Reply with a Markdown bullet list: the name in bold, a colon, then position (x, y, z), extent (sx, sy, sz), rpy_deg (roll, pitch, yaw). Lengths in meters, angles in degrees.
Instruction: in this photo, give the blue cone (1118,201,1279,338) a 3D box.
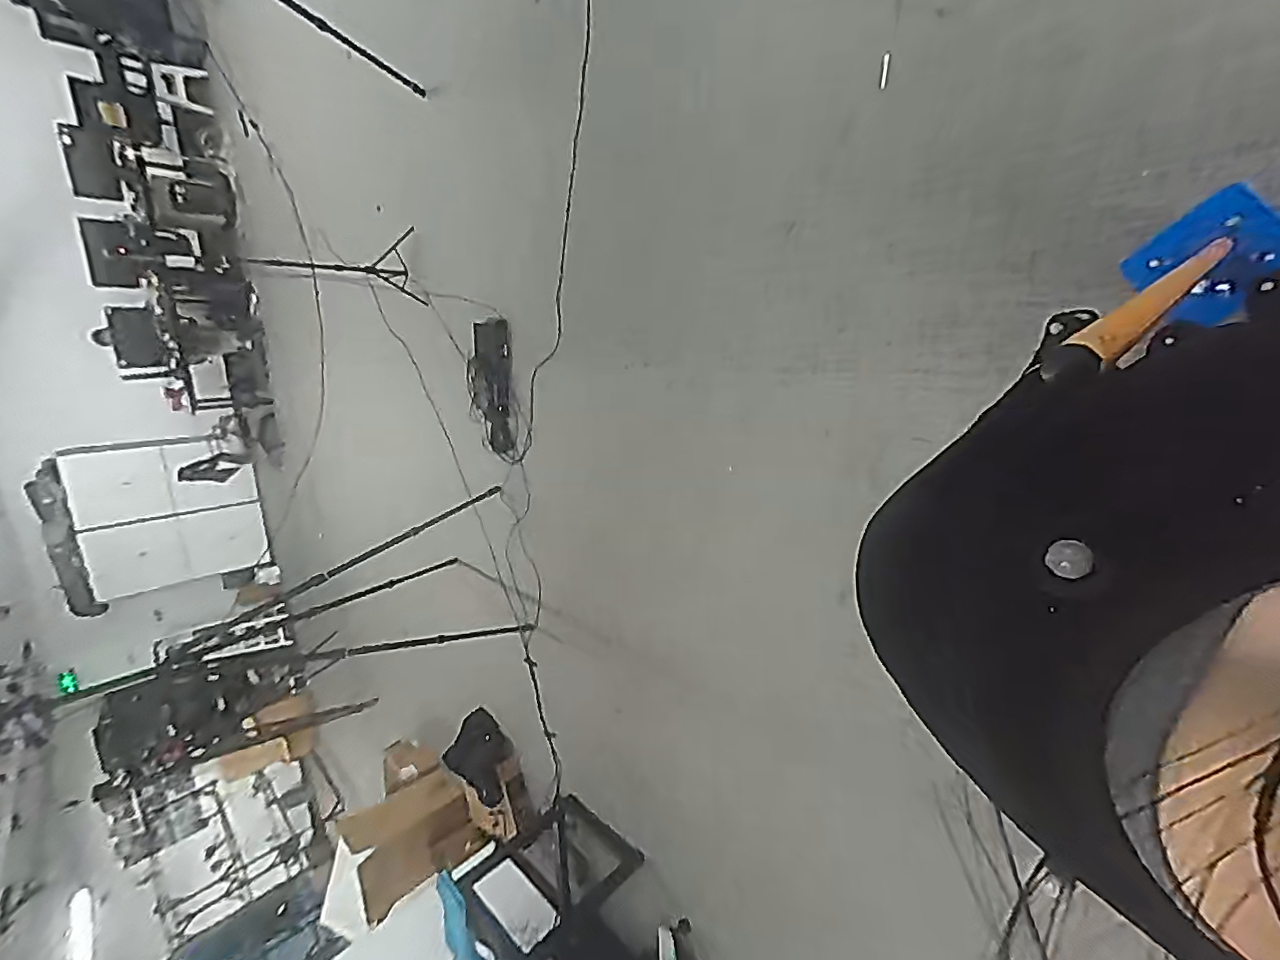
- **blue cone**: position (0.936, -0.351, 0.895), extent (0.192, 0.380, 0.193), rpy_deg (56, 134, 17)
